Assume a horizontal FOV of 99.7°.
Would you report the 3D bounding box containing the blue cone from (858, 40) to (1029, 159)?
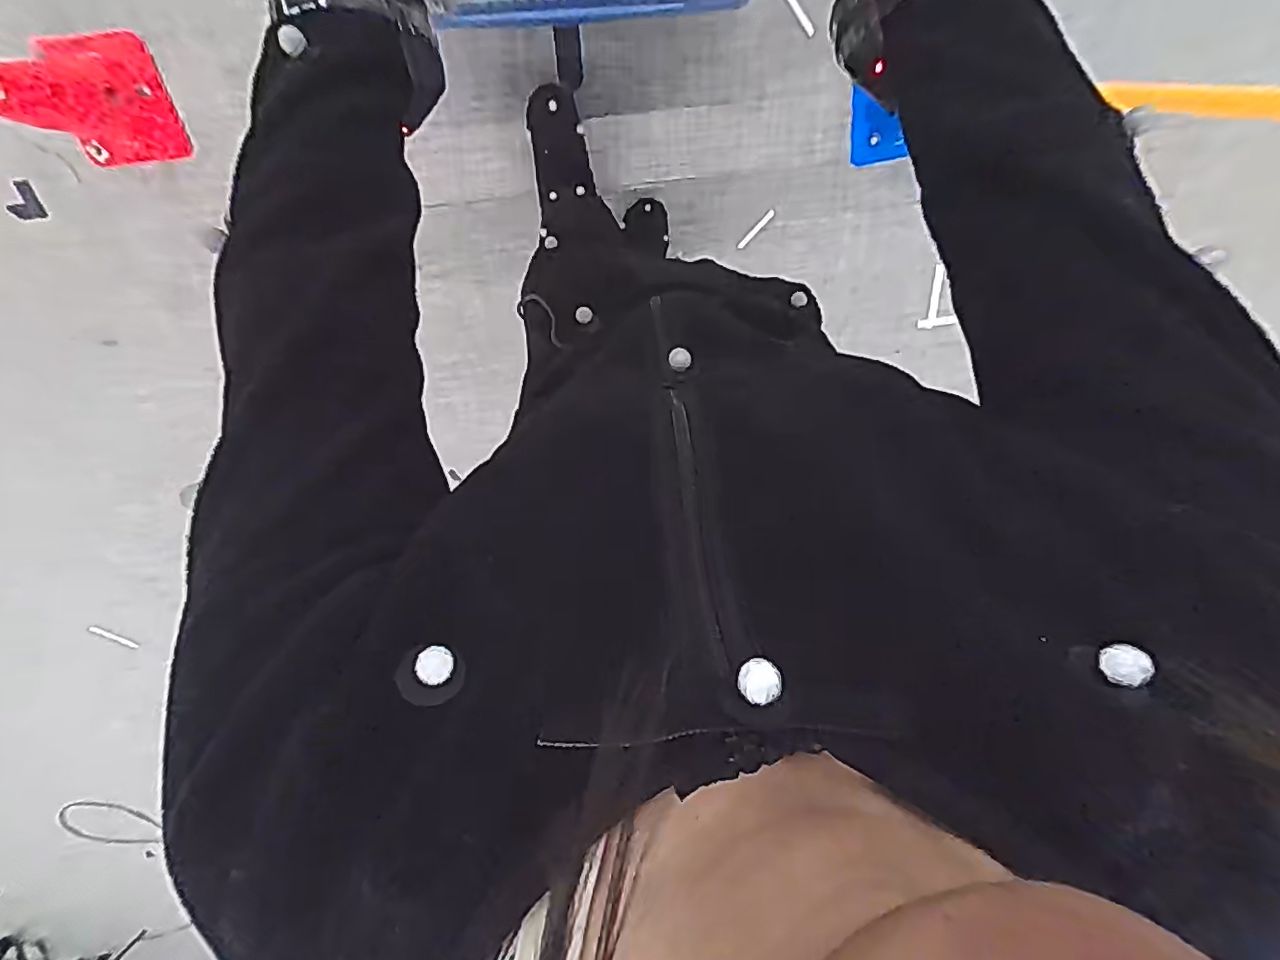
[{"bbox_3d":[0.567,-0.710,0.997,0.193,0.380,0.192,-10,121,-1],"label":"blue cone"}]
